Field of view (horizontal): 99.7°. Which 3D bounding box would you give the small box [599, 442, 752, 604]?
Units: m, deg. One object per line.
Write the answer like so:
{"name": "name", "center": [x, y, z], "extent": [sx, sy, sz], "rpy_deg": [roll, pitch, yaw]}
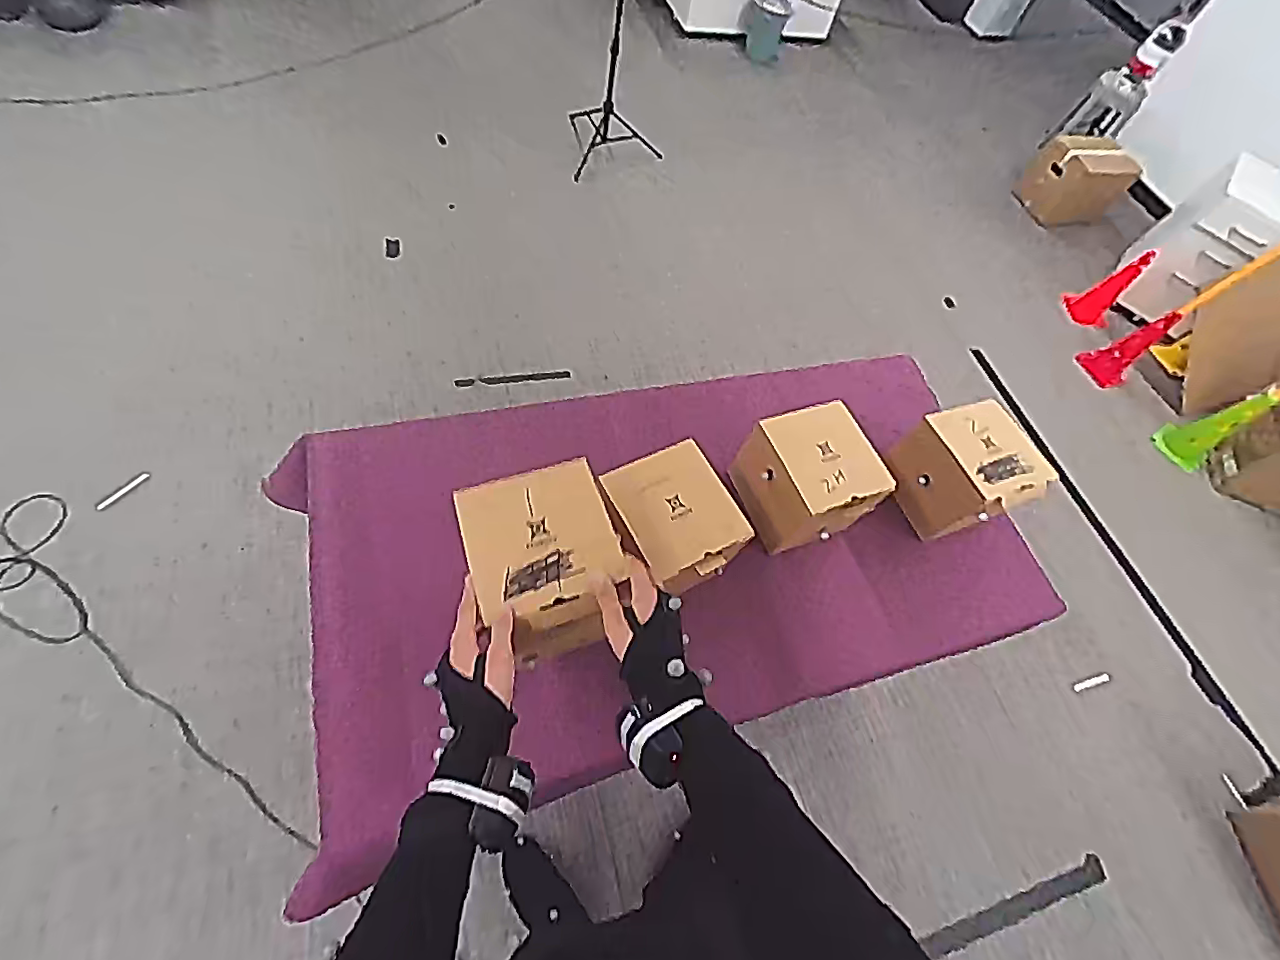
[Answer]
{"name": "small box", "center": [0.038, 0.075, 0.837], "extent": [0.168, 0.176, 0.179], "rpy_deg": [-22, 68, -22]}

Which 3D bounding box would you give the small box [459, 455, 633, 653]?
{"name": "small box", "center": [-0.113, 0.100, 0.678], "extent": [0.168, 0.176, 0.179], "rpy_deg": [-15, 59, -14]}

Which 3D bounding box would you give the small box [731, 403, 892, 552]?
{"name": "small box", "center": [0.278, -0.001, 0.922], "extent": [0.168, 0.176, 0.179], "rpy_deg": [-15, 66, -18]}
